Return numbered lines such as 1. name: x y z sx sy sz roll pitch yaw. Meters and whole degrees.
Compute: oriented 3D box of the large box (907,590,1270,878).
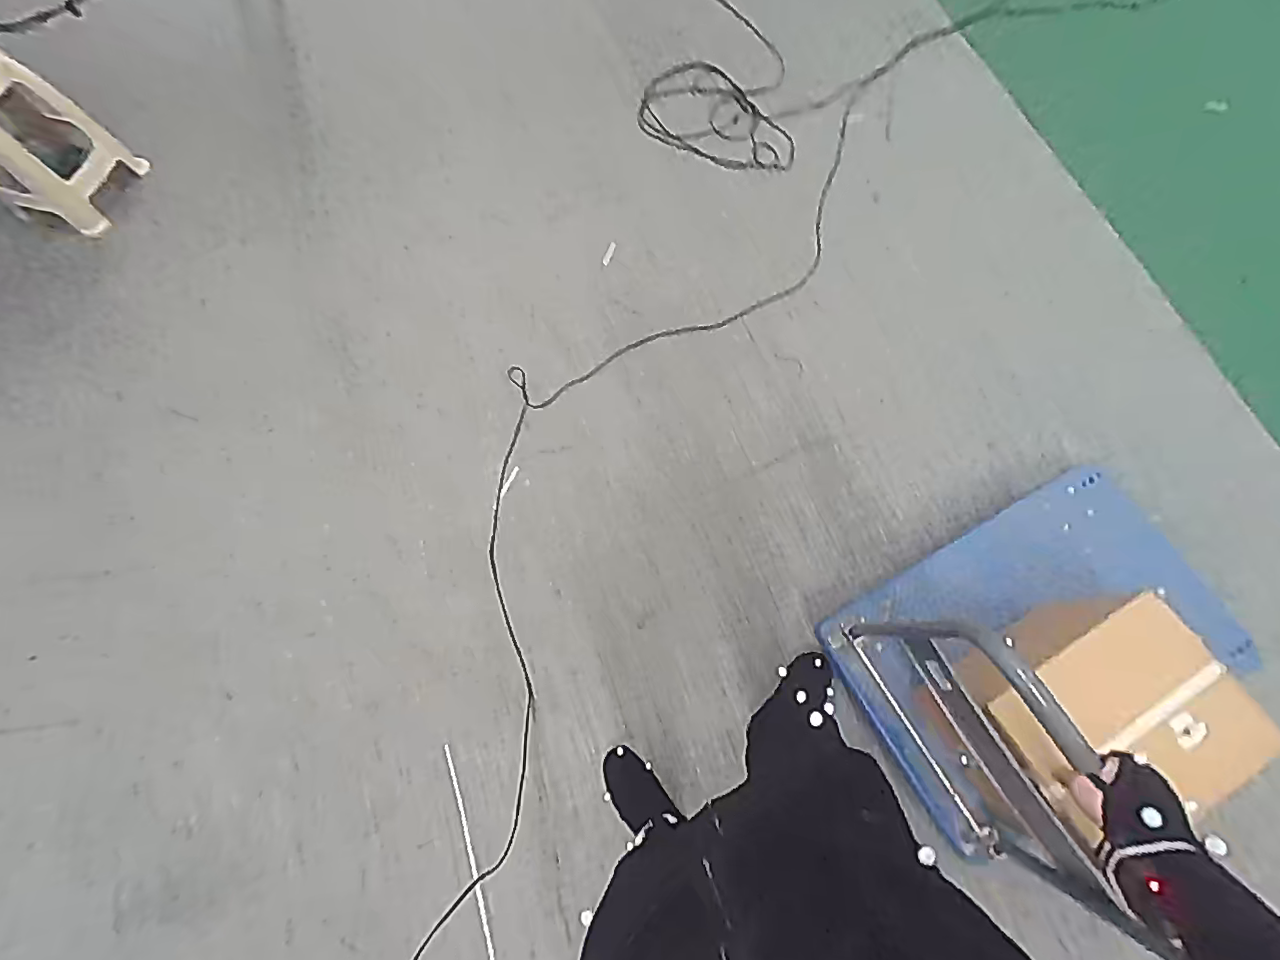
1. large box: 0.848 0.474 1.085 0.408 0.320 0.320 -29 75 -9
